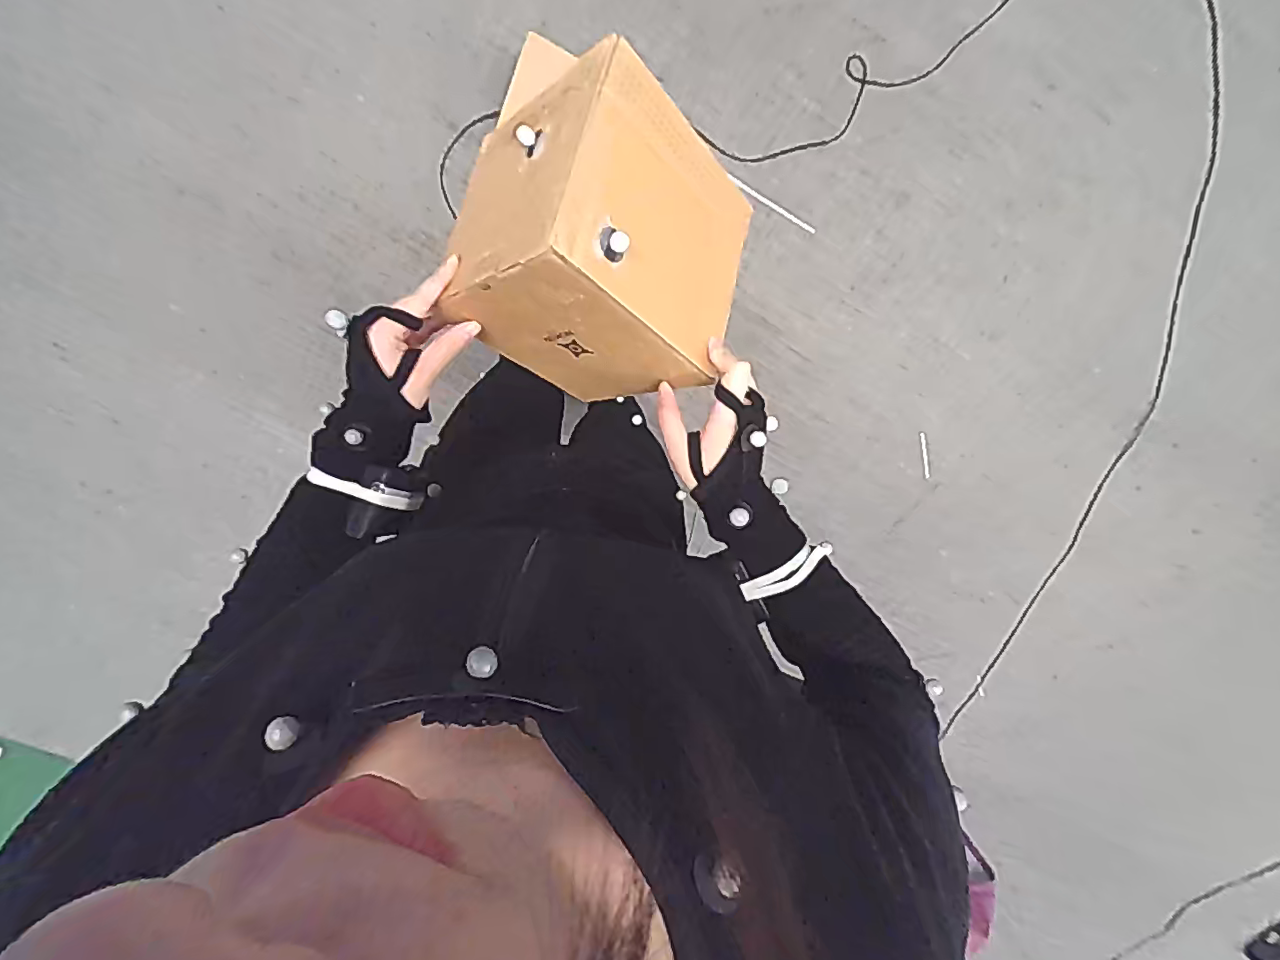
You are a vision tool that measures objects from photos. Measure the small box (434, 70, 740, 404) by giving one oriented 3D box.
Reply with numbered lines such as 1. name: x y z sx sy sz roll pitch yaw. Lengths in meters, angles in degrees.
1. small box: -0.035 -0.183 0.461 0.179 0.168 0.176 29 70 -41

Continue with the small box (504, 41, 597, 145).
1. small box: -0.135 -0.661 1.023 0.168 0.176 0.179 24 107 -9
